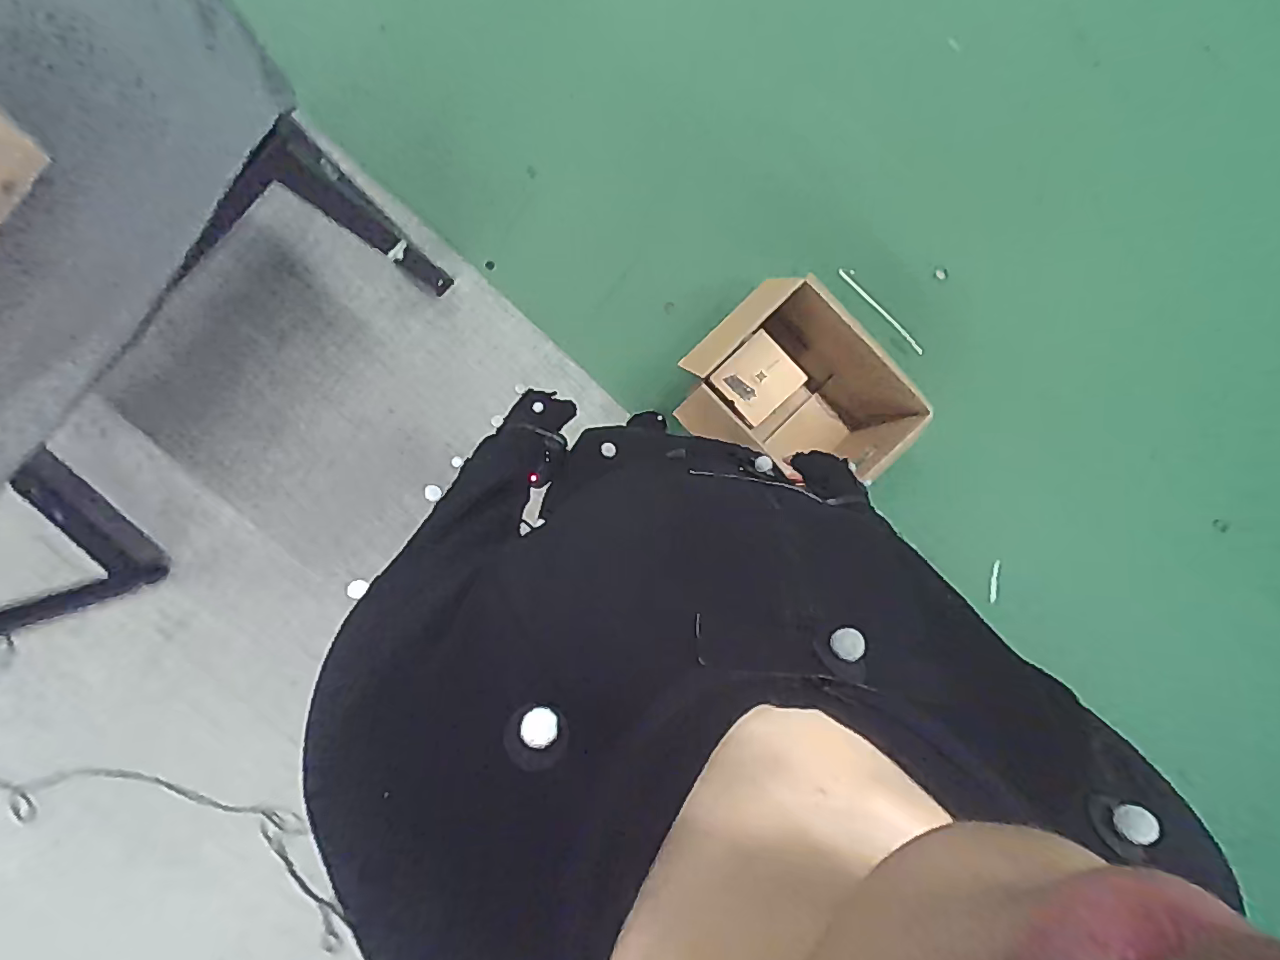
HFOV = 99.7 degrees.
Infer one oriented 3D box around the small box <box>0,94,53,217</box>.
[{"bbox_3d":[-0.857,-0.416,0.607,0.179,0.176,0.168,44,94,-4],"label":"small box"}]
